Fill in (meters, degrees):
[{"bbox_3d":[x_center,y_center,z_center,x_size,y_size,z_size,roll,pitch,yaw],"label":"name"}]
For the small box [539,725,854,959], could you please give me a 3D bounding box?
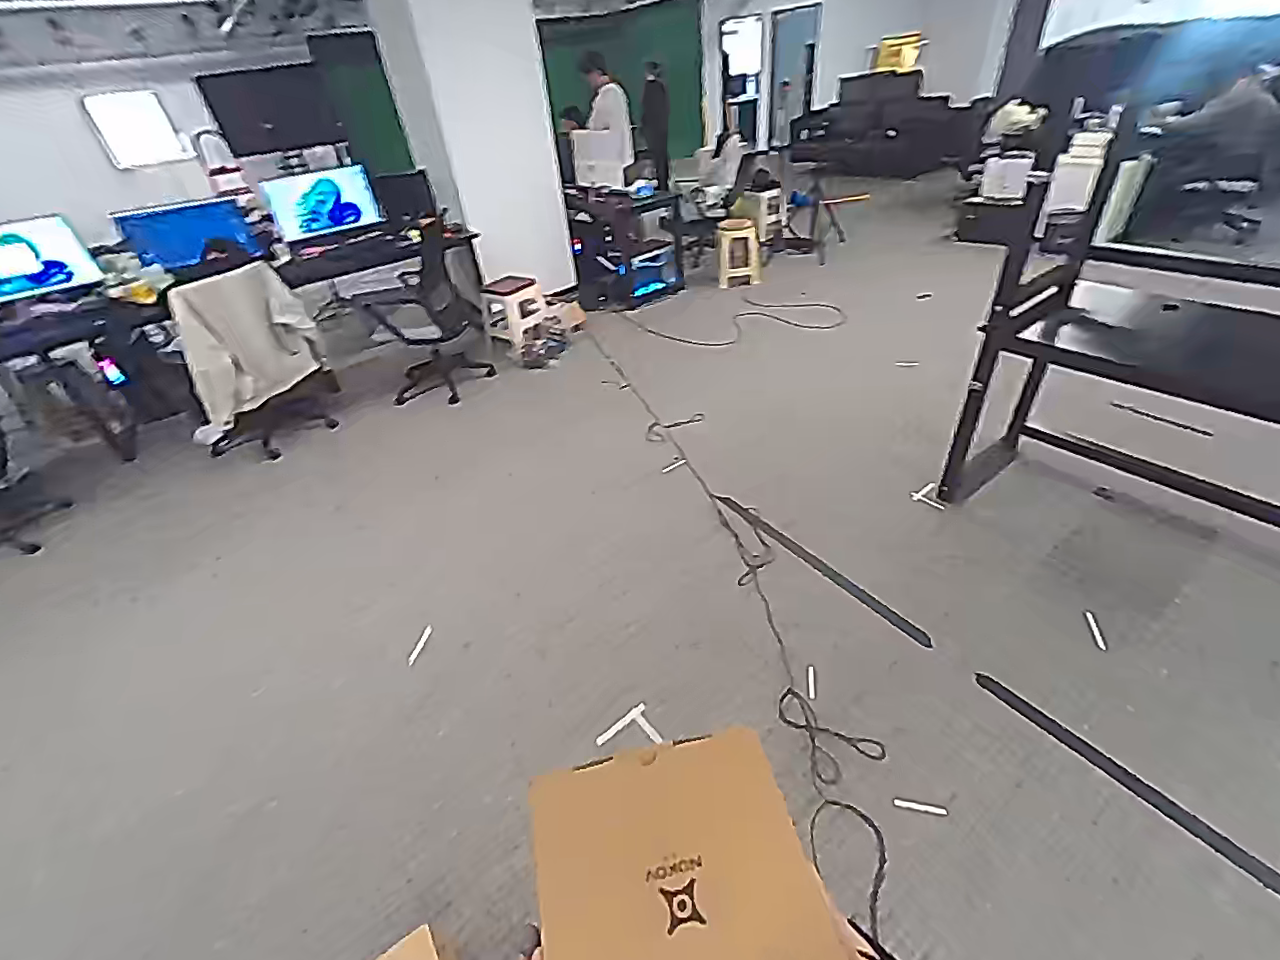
[{"bbox_3d":[0.028,0.306,0.371,0.168,0.176,0.179,-8,40,-11],"label":"small box"}]
